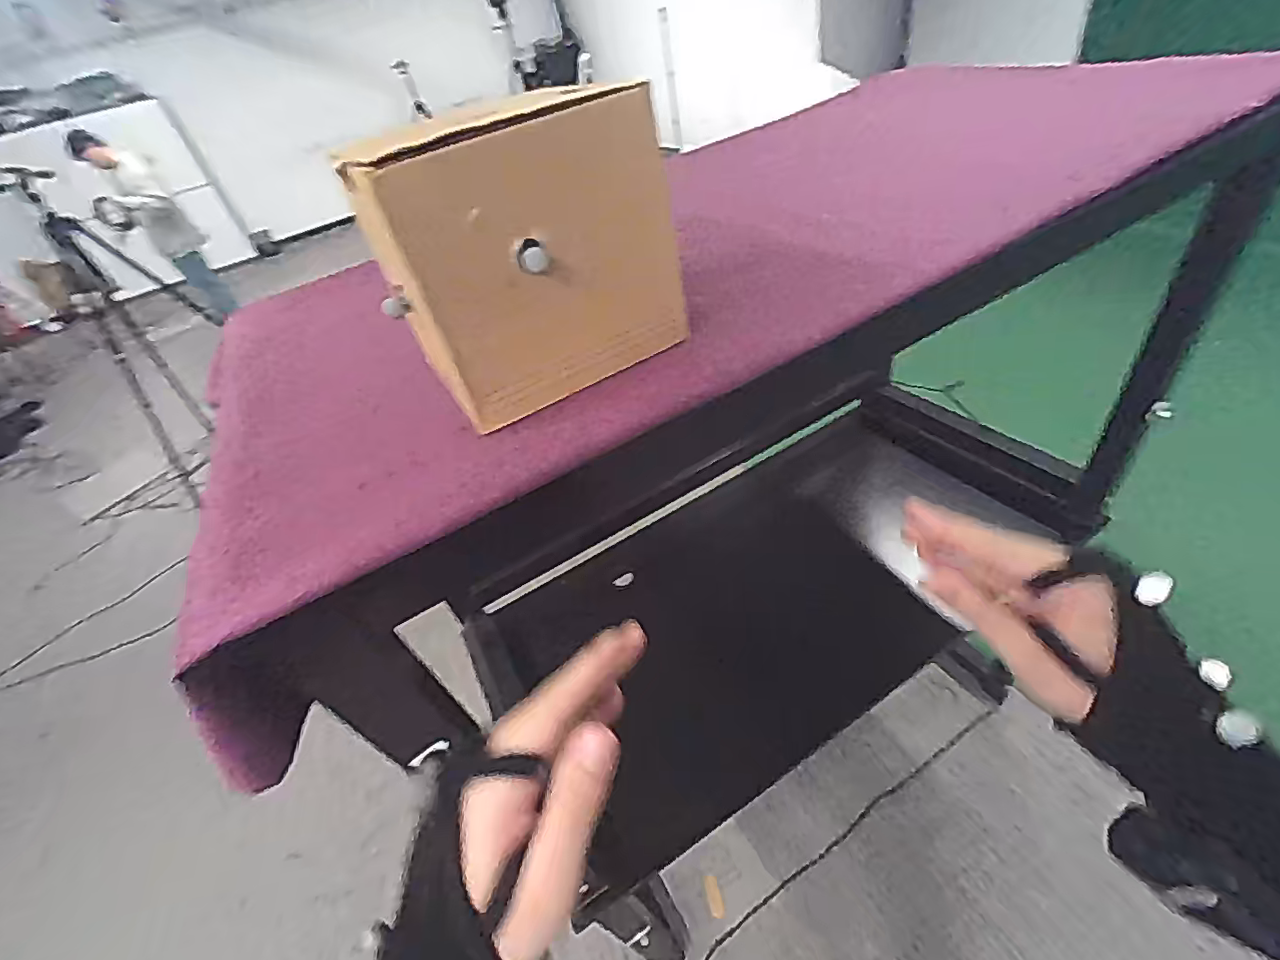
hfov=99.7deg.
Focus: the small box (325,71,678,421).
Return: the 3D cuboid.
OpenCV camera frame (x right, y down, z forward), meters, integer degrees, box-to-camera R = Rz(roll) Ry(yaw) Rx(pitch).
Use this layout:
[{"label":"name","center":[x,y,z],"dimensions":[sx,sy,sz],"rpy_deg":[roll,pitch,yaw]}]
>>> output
[{"label":"small box","center":[-0.093,-0.169,0.397],"dimensions":[0.179,0.176,0.168],"rpy_deg":[-30,42,-16]}]
